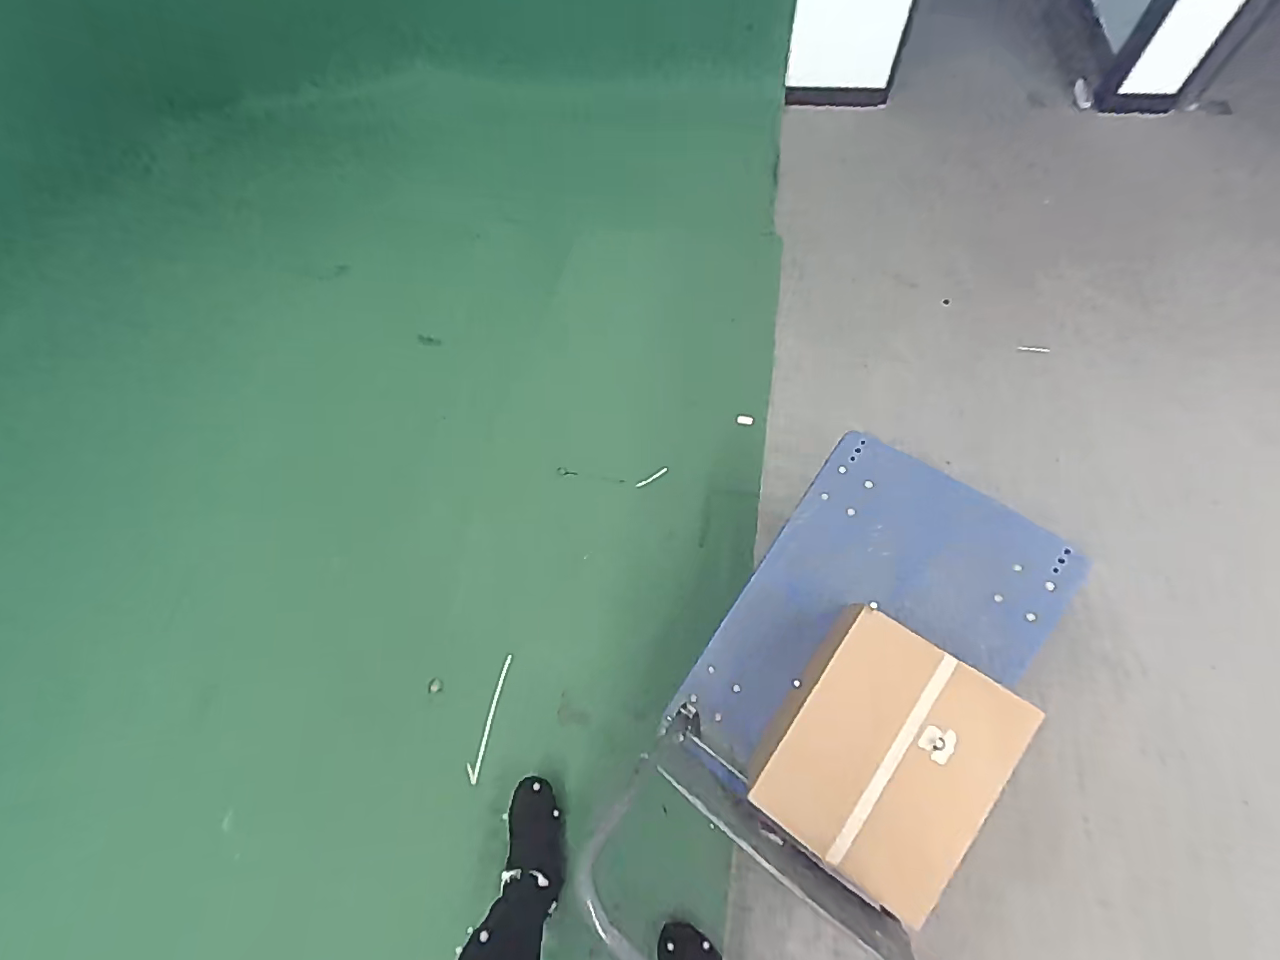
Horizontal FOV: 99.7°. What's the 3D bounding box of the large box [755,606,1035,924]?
[{"bbox_3d":[0.459,0.504,1.060,0.320,0.320,0.408,31,85,18],"label":"large box"}]
